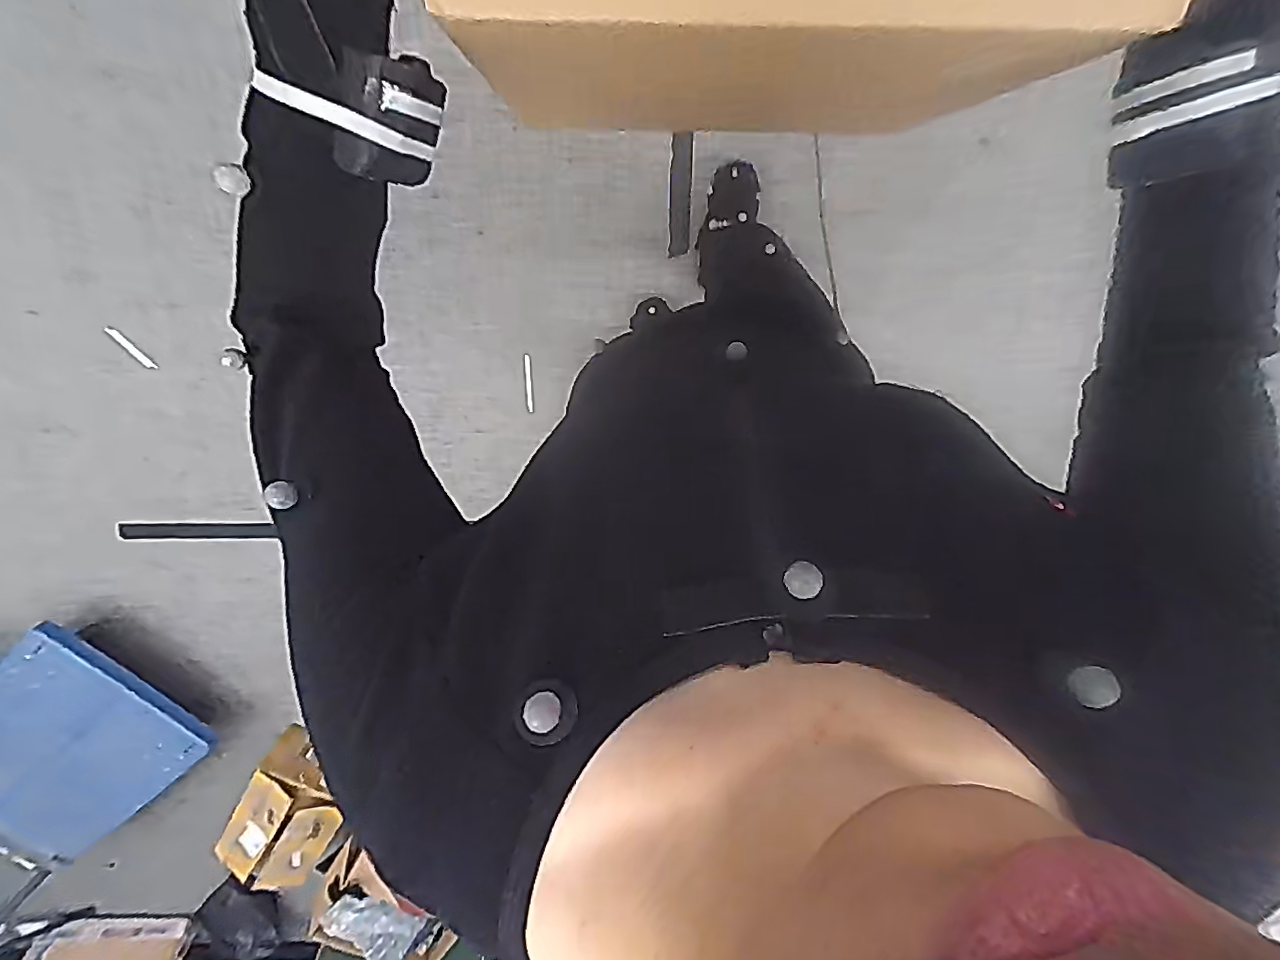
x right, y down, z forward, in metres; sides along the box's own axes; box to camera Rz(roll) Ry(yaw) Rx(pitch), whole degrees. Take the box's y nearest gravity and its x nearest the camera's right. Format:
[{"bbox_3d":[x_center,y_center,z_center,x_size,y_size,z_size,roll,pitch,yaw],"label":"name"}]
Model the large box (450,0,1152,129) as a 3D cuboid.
[{"bbox_3d":[0.082,-0.456,0.374,0.408,0.320,0.320,-1,114,-2],"label":"large box"}]
